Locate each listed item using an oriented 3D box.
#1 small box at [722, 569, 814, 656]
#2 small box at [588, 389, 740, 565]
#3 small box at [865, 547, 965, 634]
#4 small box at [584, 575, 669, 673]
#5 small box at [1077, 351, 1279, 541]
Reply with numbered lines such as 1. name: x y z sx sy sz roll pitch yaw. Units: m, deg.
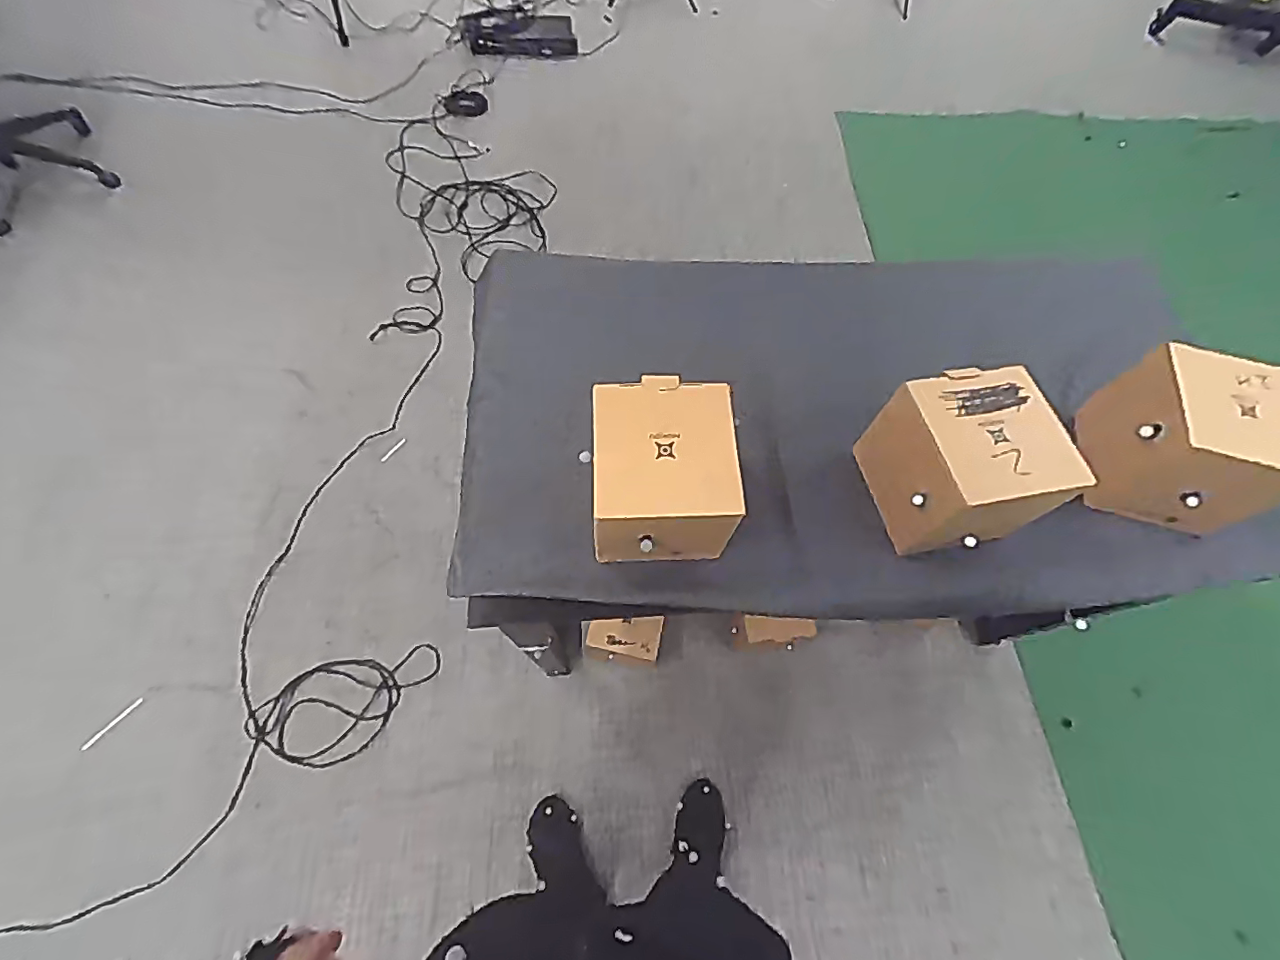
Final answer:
1. small box: 0.309 0.335 1.345 0.168 0.176 0.179 -4 63 -5
2. small box: 0.022 0.005 0.682 0.168 0.176 0.179 -1 64 -3
3. small box: 0.693 0.288 1.385 0.179 0.176 0.168 10 64 1
4. small box: -0.033 0.356 1.318 0.168 0.176 0.179 13 64 4
5. small box: 0.740 -0.039 0.733 0.168 0.176 0.179 16 62 5
